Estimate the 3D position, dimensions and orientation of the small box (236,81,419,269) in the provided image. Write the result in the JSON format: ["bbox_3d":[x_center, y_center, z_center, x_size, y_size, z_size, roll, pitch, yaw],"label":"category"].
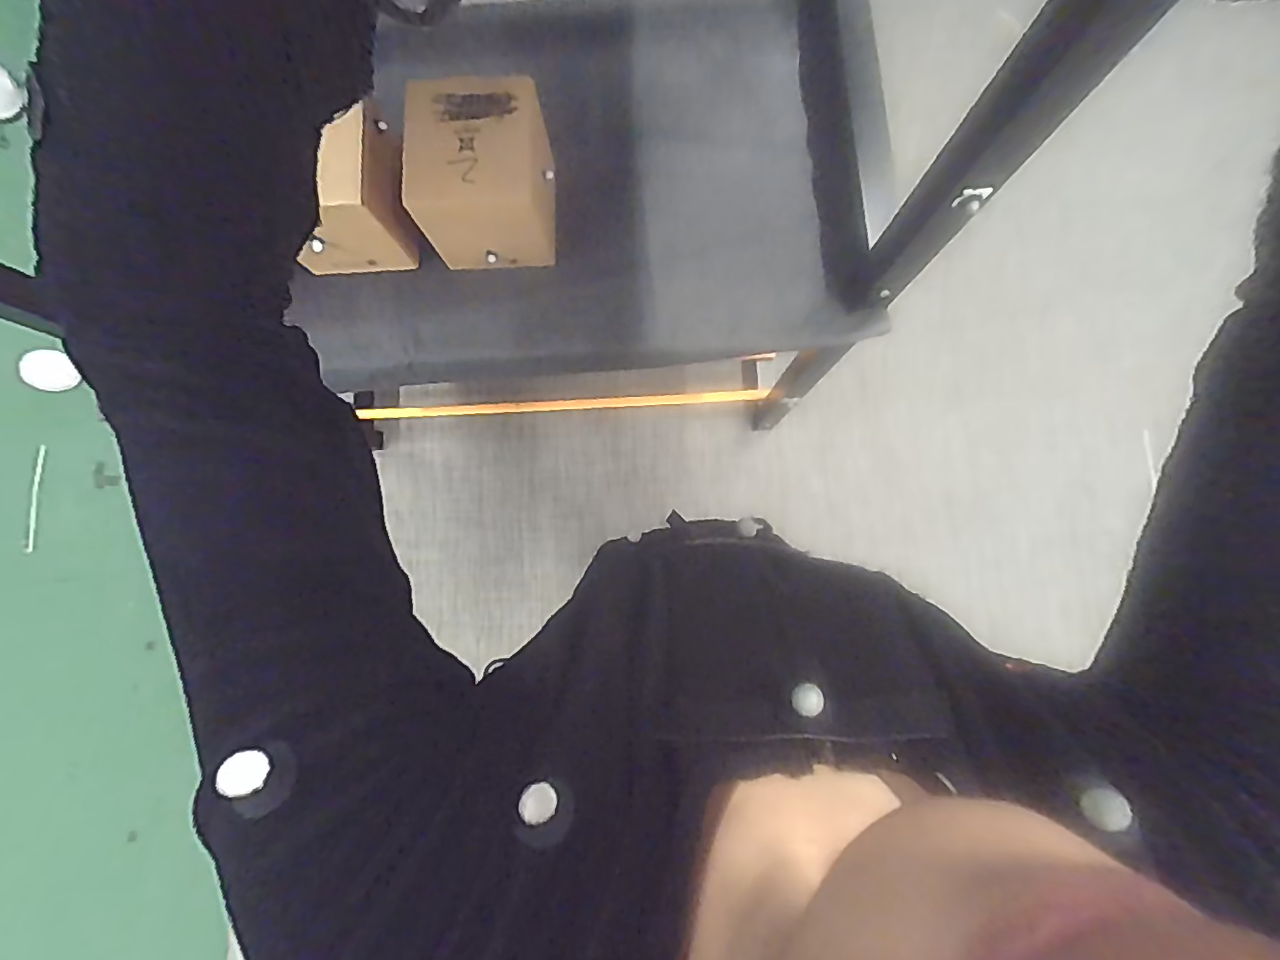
[{"bbox_3d":[-0.431,-0.419,0.772,0.168,0.176,0.179,-3,82,1],"label":"small box"}]
